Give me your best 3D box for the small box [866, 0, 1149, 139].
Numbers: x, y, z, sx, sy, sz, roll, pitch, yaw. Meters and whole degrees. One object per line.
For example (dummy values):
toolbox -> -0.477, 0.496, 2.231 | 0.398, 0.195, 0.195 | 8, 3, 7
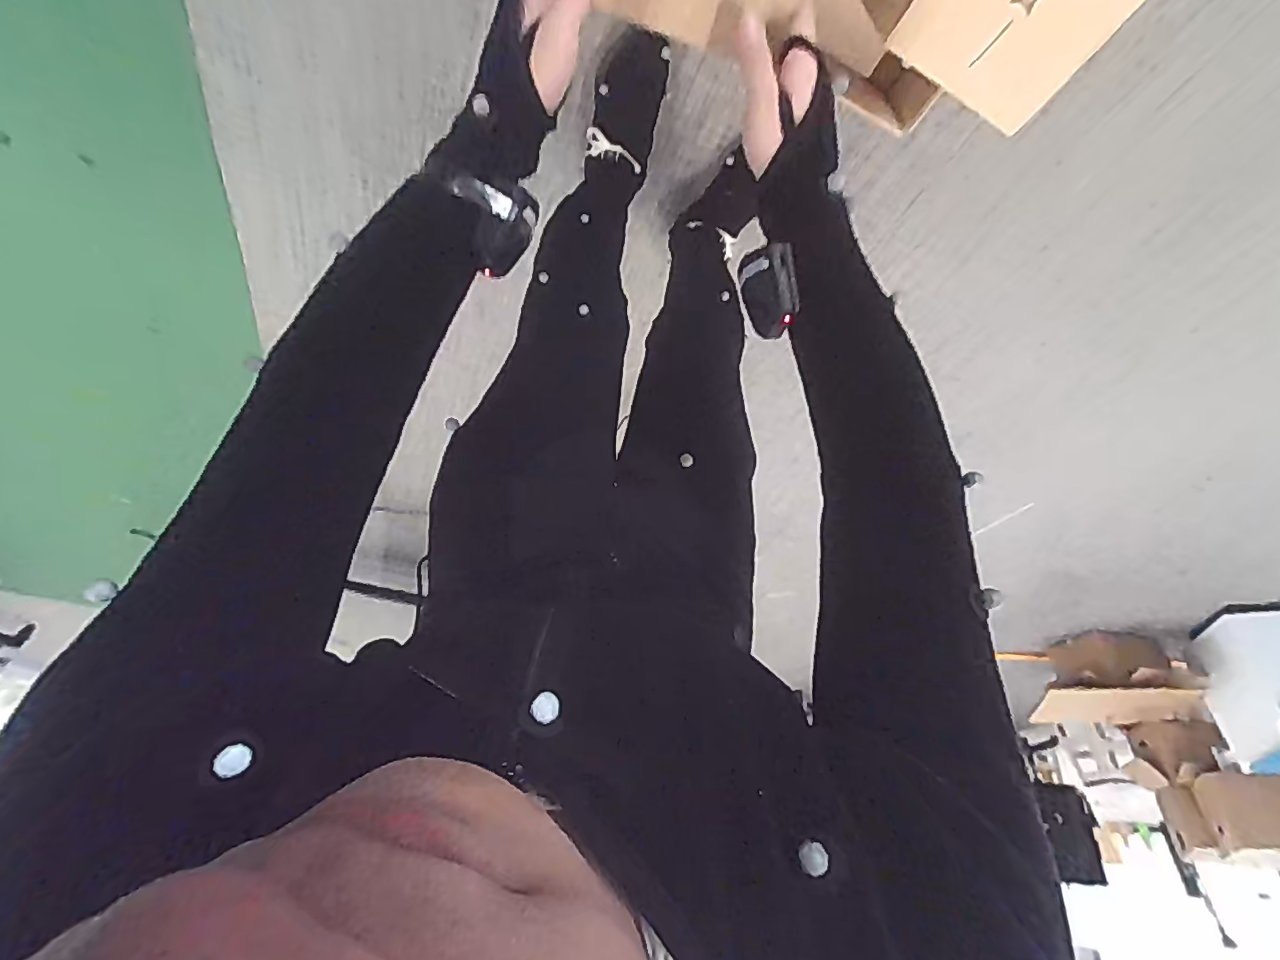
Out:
small box -> 0.330, -0.464, 0.482 | 0.168, 0.176, 0.179 | 19, 143, -18

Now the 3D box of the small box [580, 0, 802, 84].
small box -> 0.055, -0.456, 0.421 | 0.168, 0.176, 0.179 | 13, 136, -12
